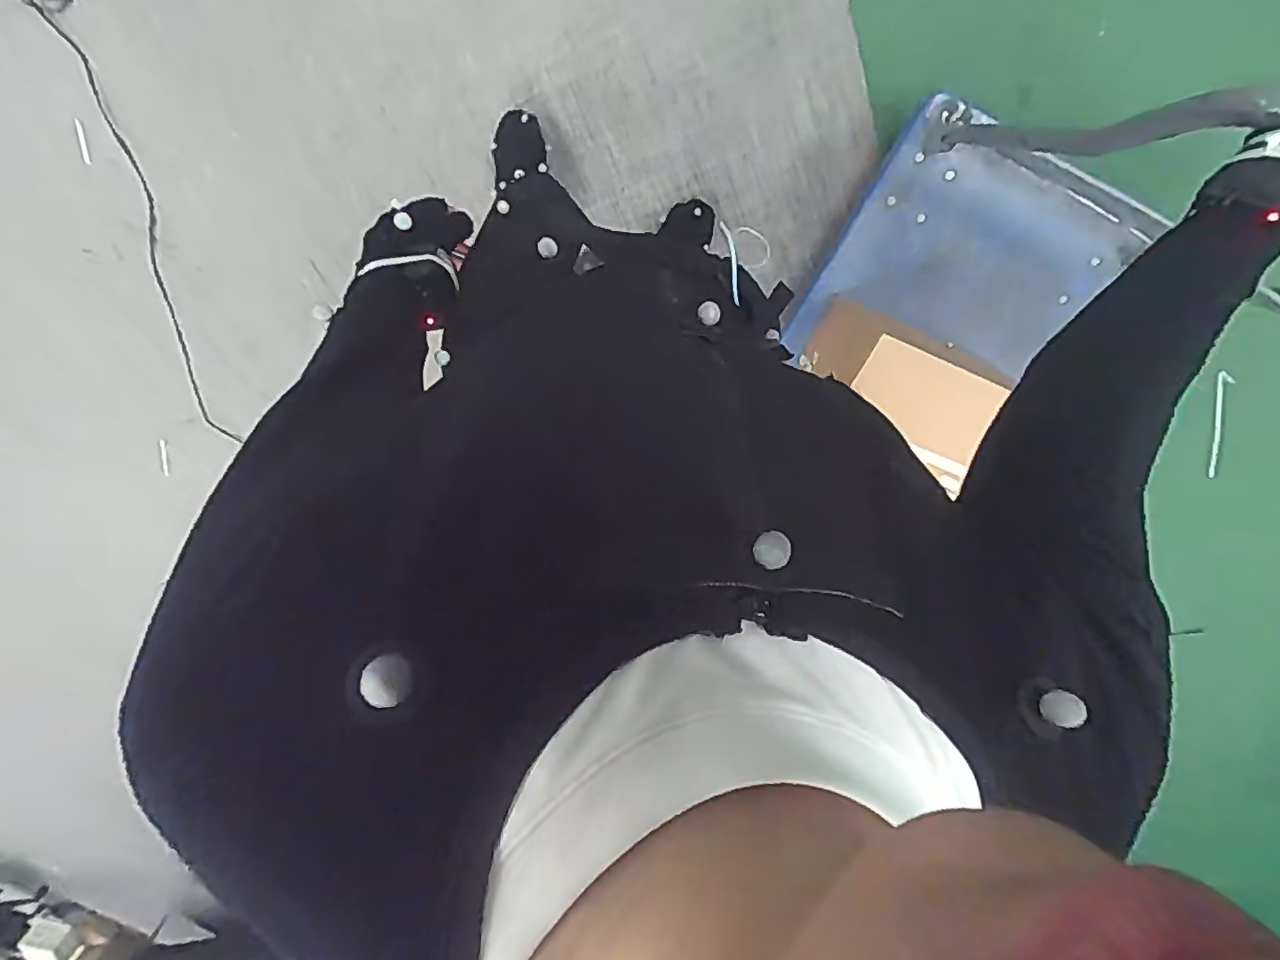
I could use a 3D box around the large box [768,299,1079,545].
[{"bbox_3d":[0.527,-0.128,1.106,0.408,0.320,0.320,20,120,-8],"label":"large box"}]
